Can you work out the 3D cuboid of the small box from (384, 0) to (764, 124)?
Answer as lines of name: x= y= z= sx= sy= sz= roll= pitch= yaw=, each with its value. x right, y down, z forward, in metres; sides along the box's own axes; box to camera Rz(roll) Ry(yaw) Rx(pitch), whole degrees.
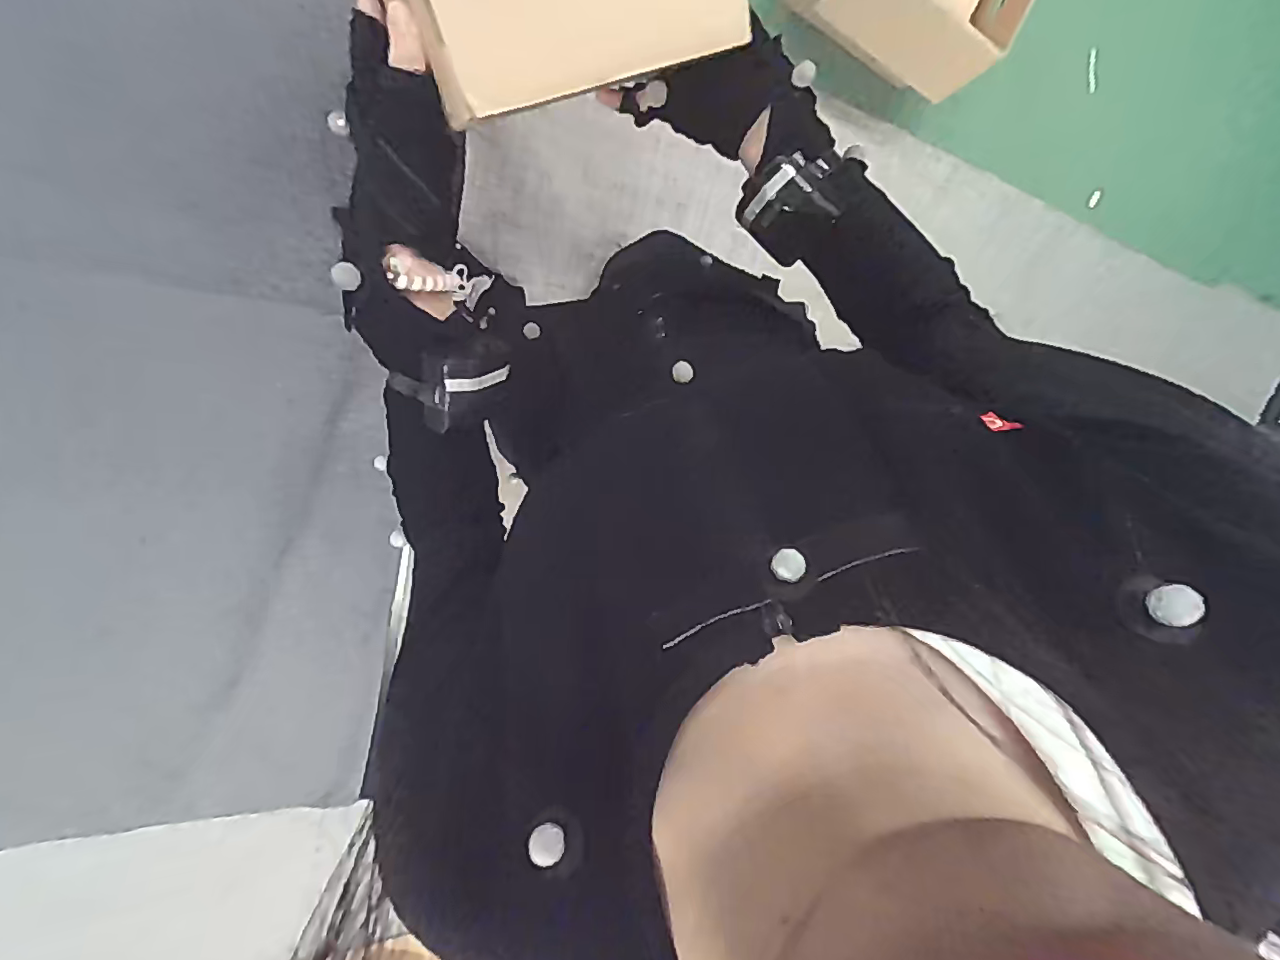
small box: x=-0.055 y=-0.318 z=0.304 sx=0.179 sy=0.176 sz=0.168 roll=-26 pitch=126 yaw=-15
